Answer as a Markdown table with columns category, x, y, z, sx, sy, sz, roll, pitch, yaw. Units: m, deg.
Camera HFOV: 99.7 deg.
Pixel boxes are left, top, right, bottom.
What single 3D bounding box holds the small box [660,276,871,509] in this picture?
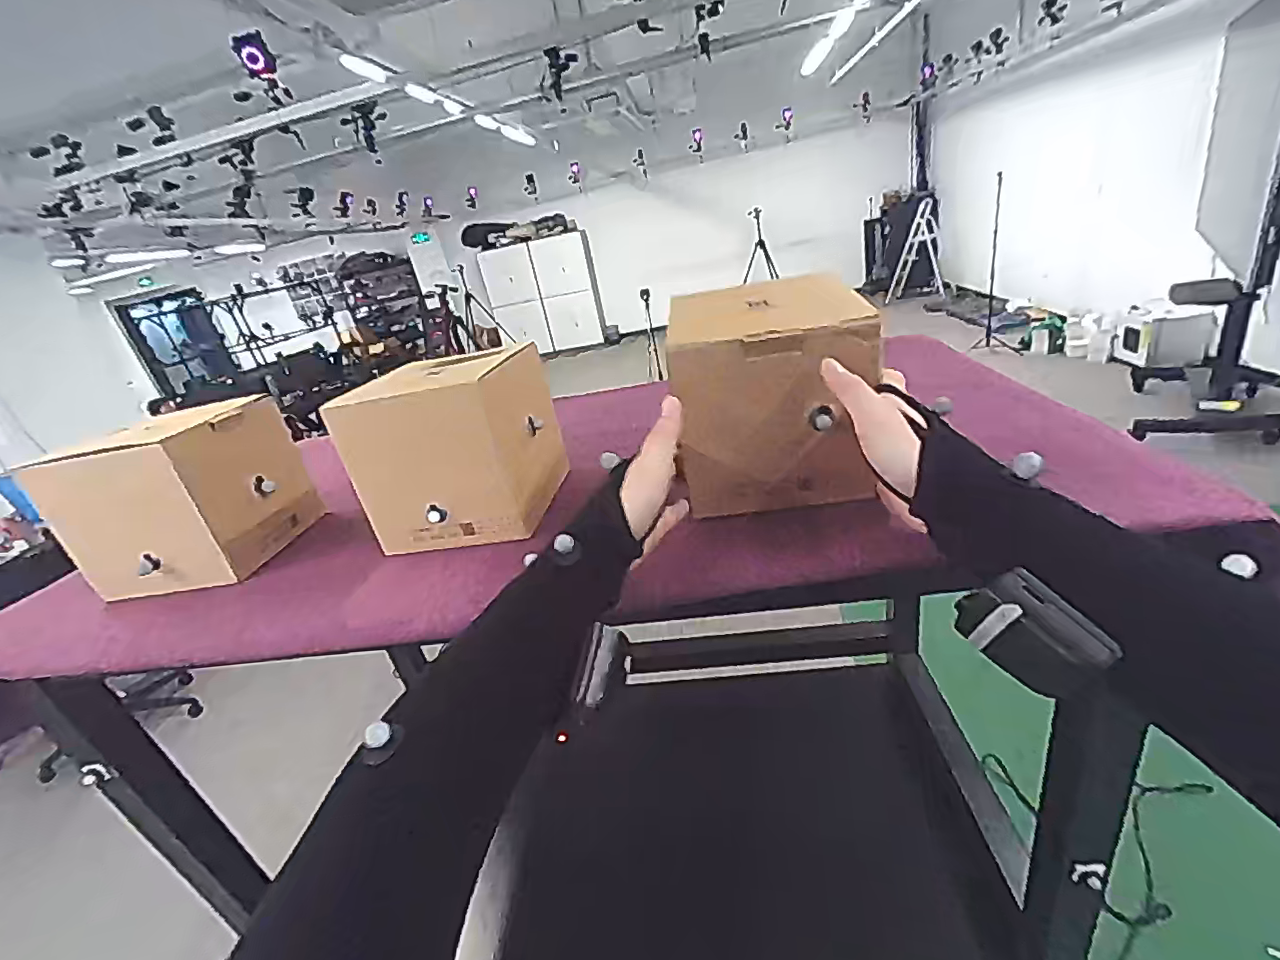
| category | x | y | z | sx | sy | sz | roll | pitch | yaw |
| --- | --- | --- | --- | --- | --- | --- | --- | --- | --- |
| small box | 0.119 | -0.082 | 0.525 | 0.168 | 0.176 | 0.179 | -7 | 29 | 10 |

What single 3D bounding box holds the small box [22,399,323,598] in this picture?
| category | x | y | z | sx | sy | sz | roll | pitch | yaw |
| --- | --- | --- | --- | --- | --- | --- | --- | --- | --- |
| small box | -0.521 | 0.019 | 0.638 | 0.179 | 0.176 | 0.168 | -8 | 23 | 7 |
